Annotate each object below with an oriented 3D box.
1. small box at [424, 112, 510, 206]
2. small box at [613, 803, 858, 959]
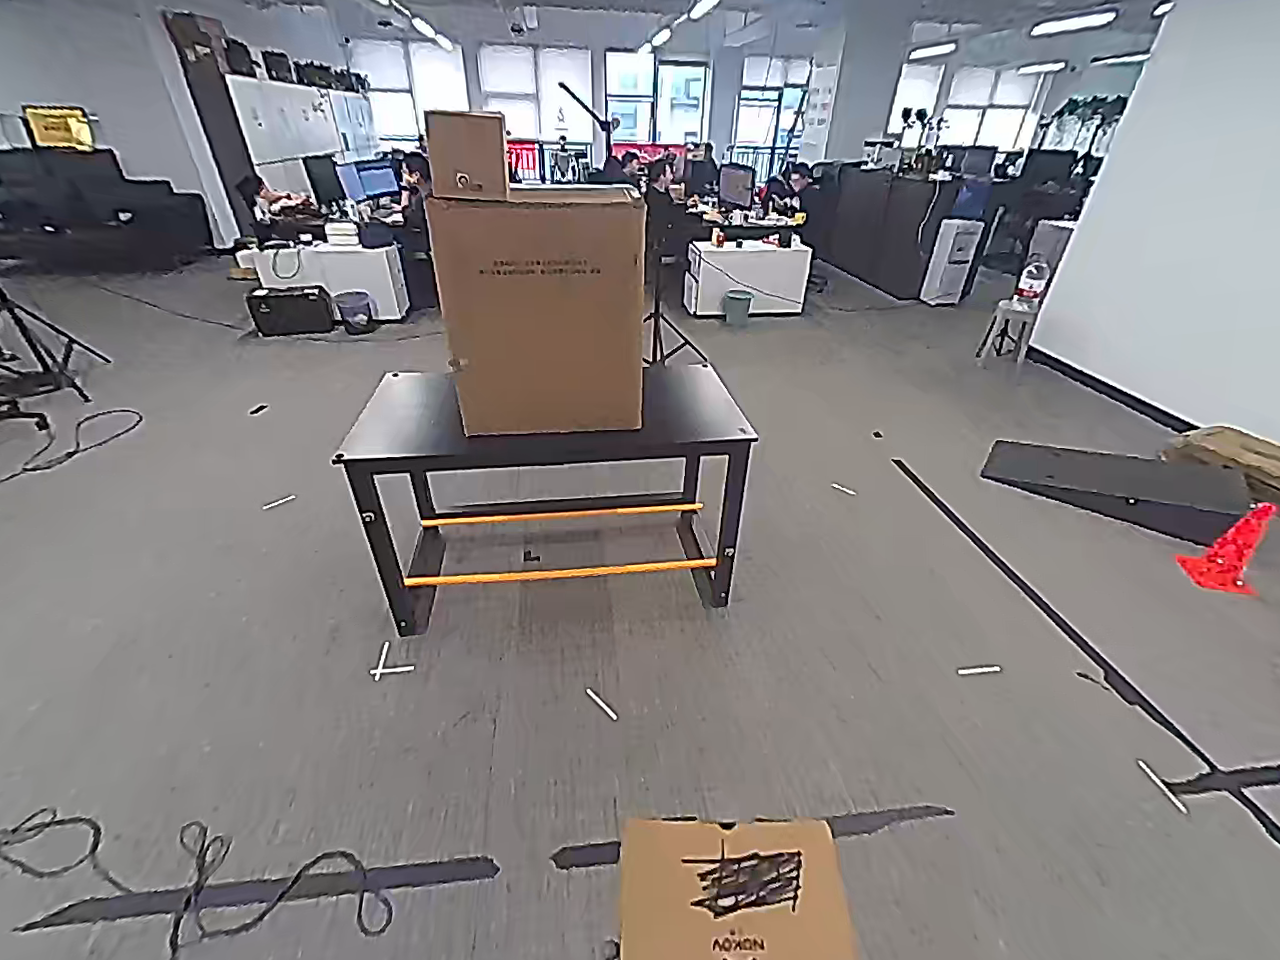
[{"bbox_3d":[-0.397,-0.751,1.265,0.168,0.176,0.179,-4,36,-10],"label":"small box"},{"bbox_3d":[0.062,0.379,0.419,0.168,0.176,0.179,1,41,-1],"label":"small box"}]
